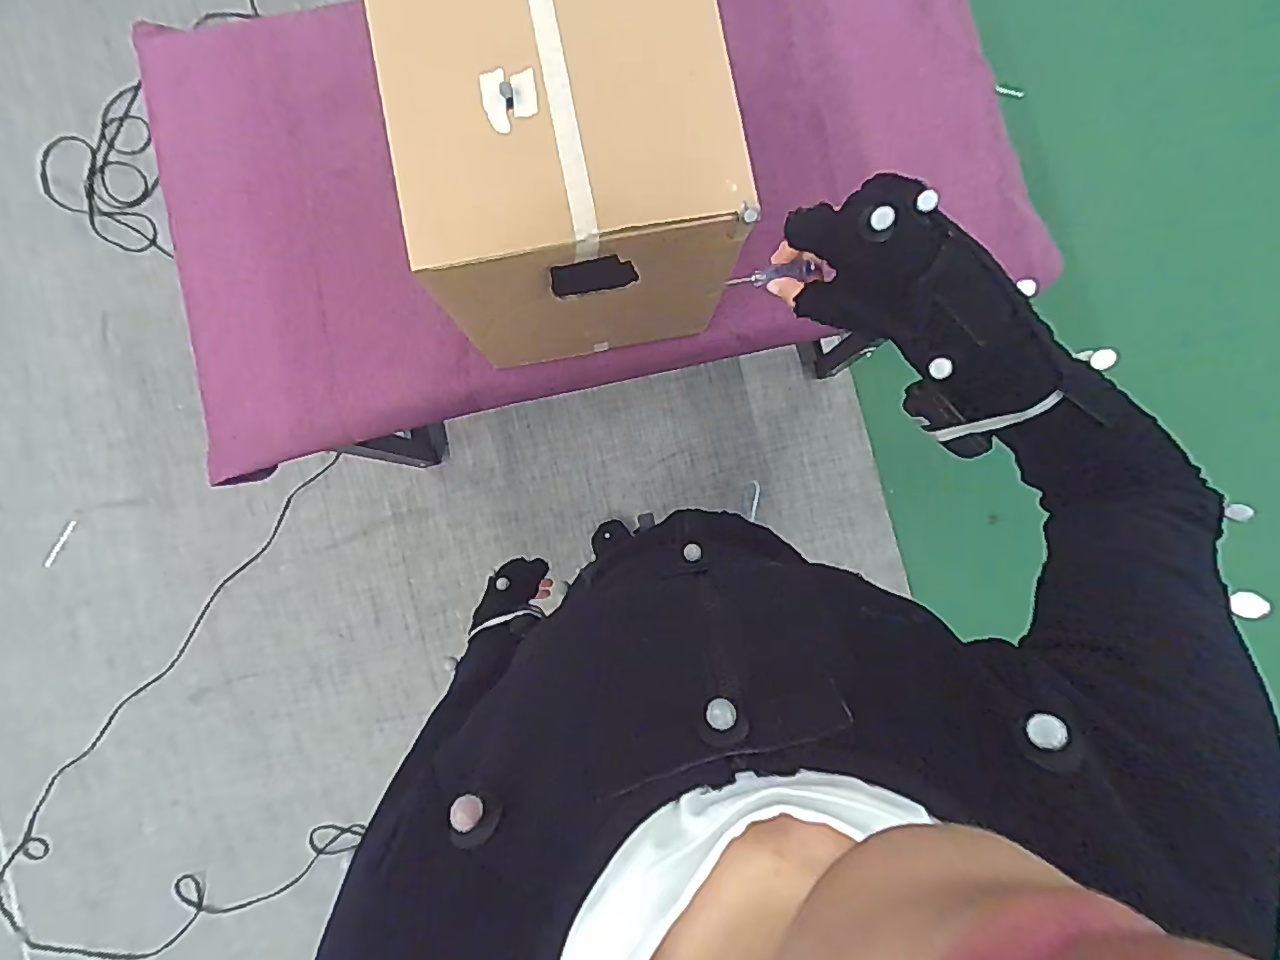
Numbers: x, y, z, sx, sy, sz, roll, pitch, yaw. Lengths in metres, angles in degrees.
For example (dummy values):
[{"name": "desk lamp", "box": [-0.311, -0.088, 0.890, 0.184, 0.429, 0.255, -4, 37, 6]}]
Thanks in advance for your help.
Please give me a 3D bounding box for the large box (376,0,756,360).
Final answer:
[{"name": "large box", "box": [-0.087, -0.401, 0.649, 0.320, 0.320, 0.408, -11, 87, -2]}]
